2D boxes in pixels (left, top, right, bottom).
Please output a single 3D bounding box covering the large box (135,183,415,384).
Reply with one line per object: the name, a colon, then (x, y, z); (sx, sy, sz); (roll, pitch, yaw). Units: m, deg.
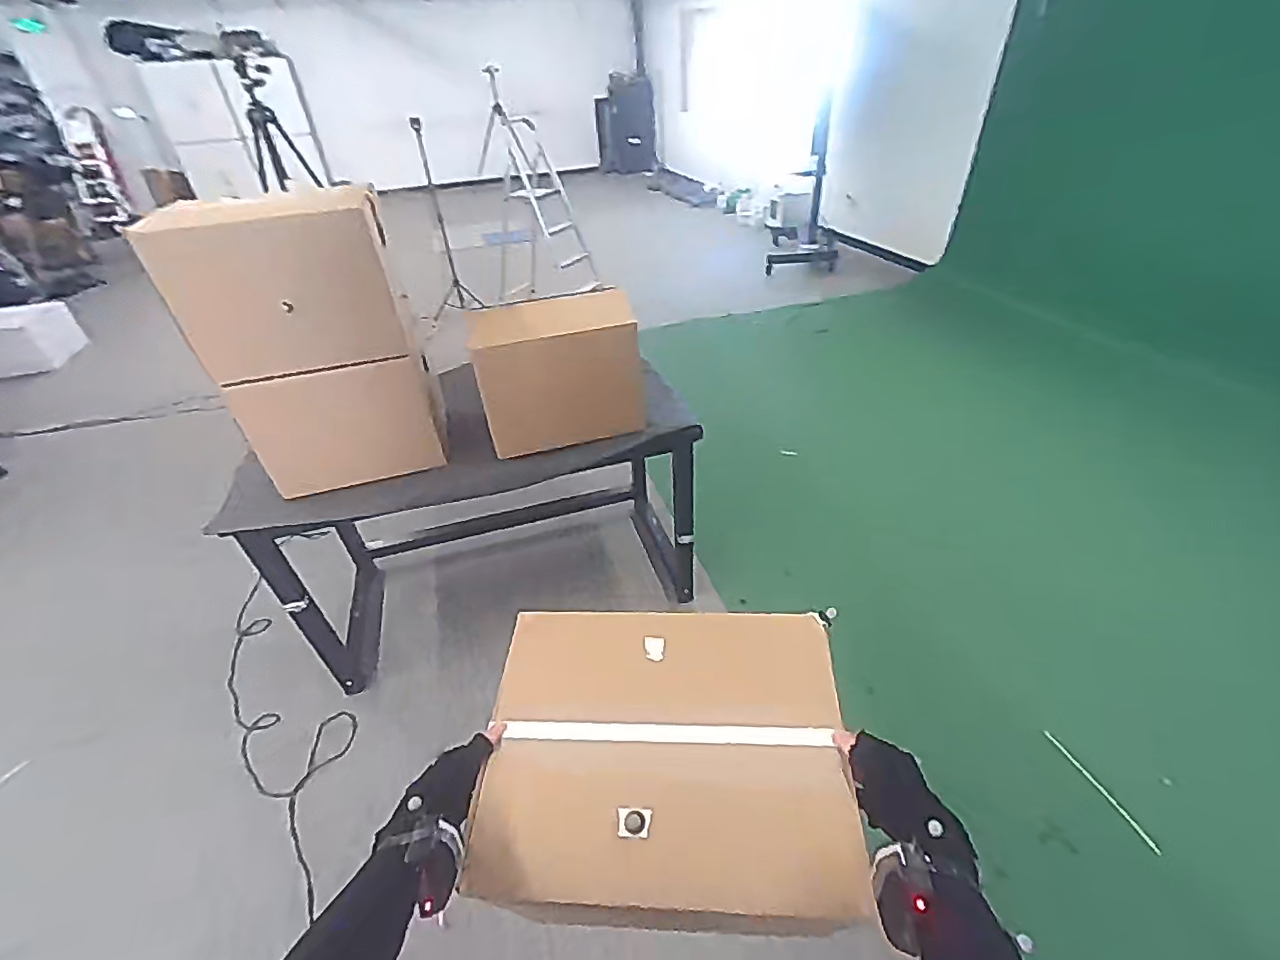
large box: (-0.757, -0.449, 1.214); (0.408, 0.320, 0.320); (-13, 39, -12)
